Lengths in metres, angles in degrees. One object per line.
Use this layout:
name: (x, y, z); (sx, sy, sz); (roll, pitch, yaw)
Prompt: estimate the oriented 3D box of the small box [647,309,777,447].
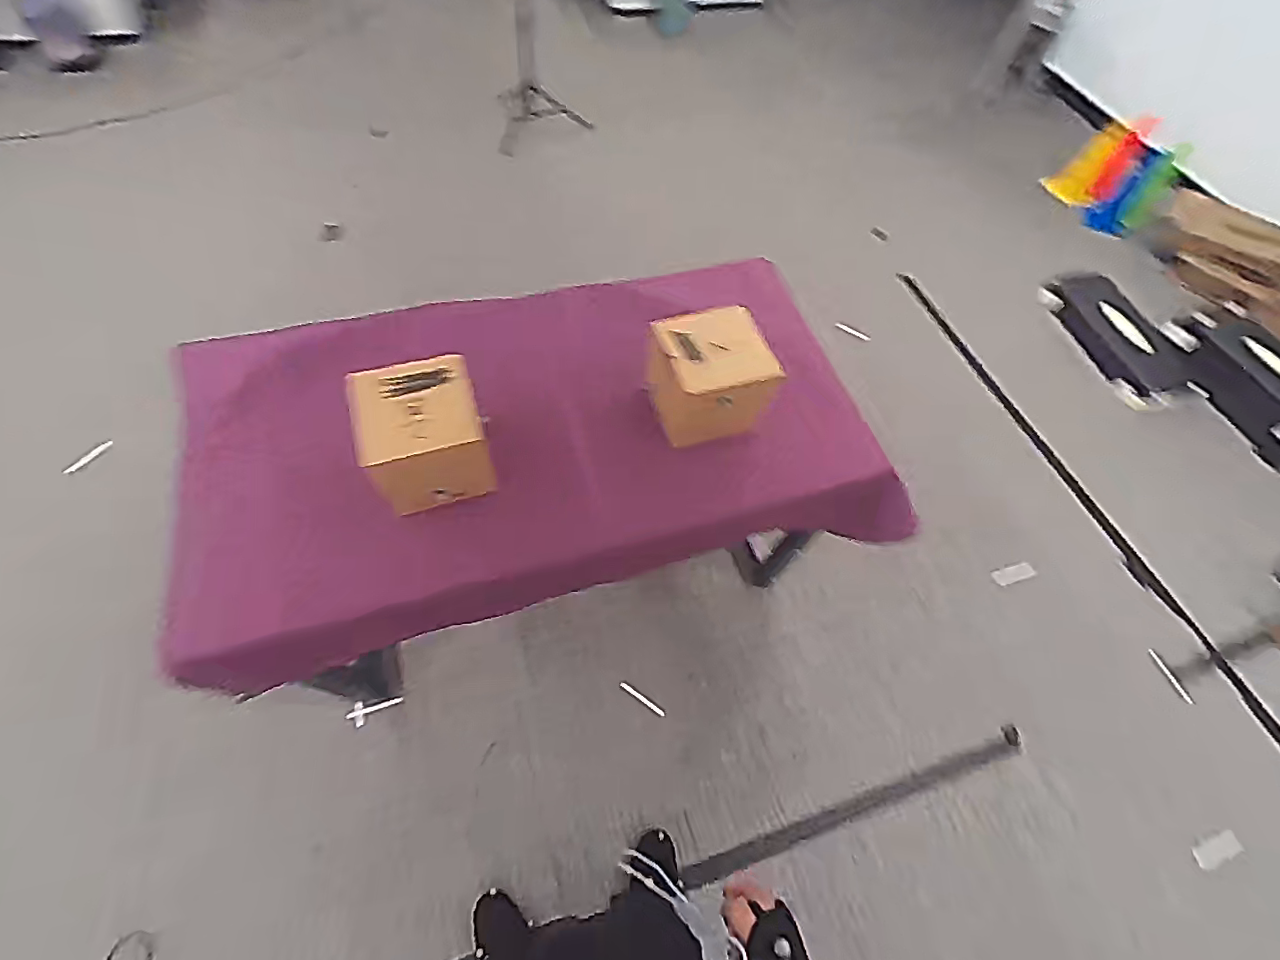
small box: (0.118, -0.181, 0.989); (0.179, 0.176, 0.168); (-15, 63, -13)
